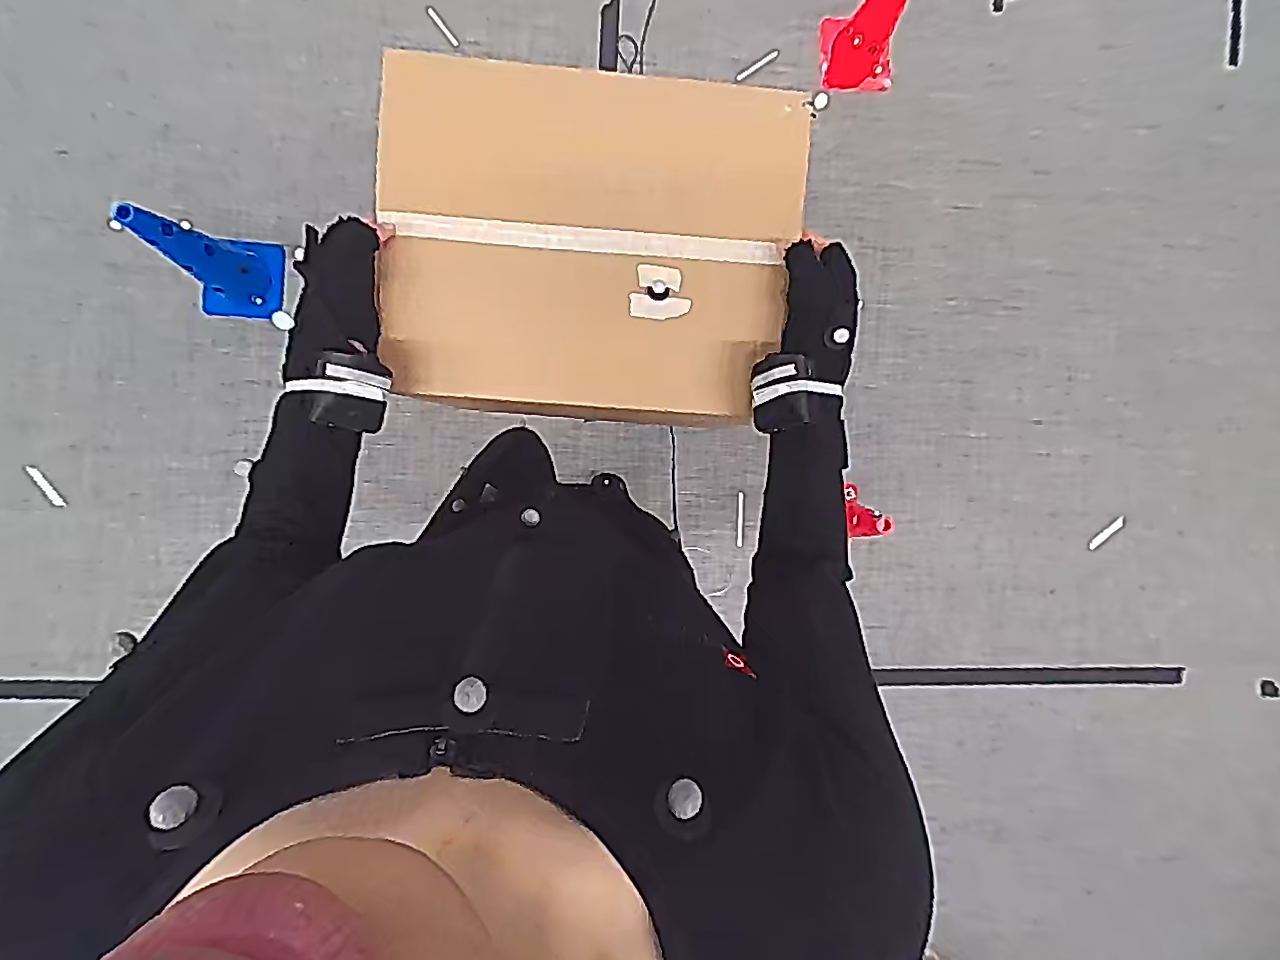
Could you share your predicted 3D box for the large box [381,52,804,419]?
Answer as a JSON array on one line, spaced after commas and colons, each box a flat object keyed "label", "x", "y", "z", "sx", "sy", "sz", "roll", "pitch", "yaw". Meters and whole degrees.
[{"label": "large box", "x": -0.054, "y": -0.247, "z": 0.670, "sx": 0.408, "sy": 0.320, "sz": 0.320, "roll": 3, "pitch": 94, "yaw": -3}]

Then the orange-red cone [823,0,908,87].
[{"label": "orange-red cone", "x": 0.619, "y": -1.204, "z": 1.338, "sx": 0.198, "sy": 0.360, "sz": 0.199, "roll": -1, "pitch": 89, "yaw": -4}]

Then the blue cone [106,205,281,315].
[{"label": "blue cone", "x": -1.036, "y": -0.529, "z": 1.254, "sx": 0.192, "sy": 0.380, "sz": 0.193, "roll": 5, "pitch": 90, "yaw": -2}]
